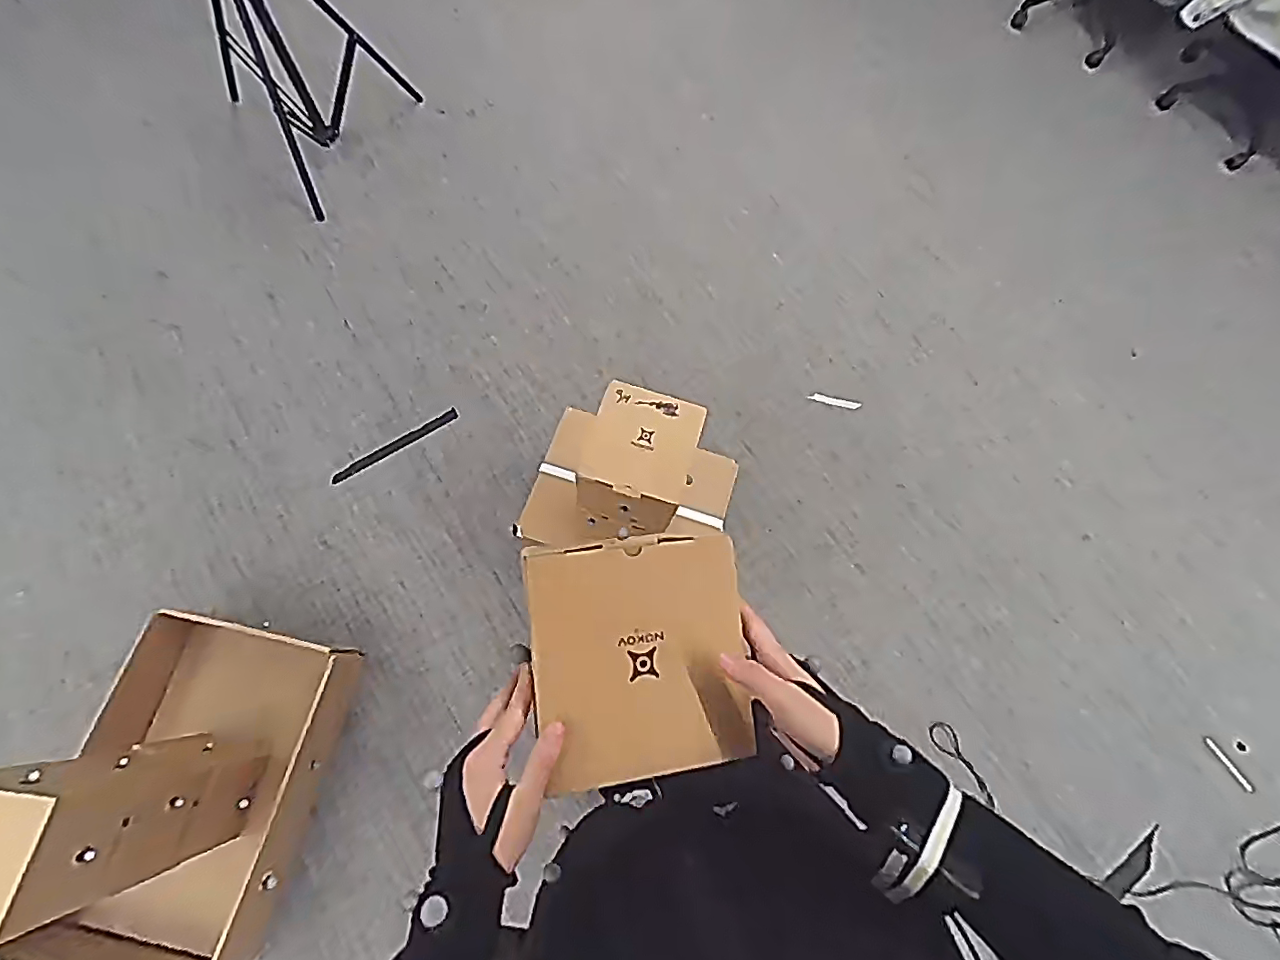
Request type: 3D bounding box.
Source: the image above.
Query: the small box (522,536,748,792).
[{"bbox_3d":[-0.017,0.145,0.493,0.168,0.176,0.179,-4,84,-13],"label":"small box"}]

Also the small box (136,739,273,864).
[{"bbox_3d":[-0.889,0.626,1.076,0.179,0.176,0.168,13,71,0],"label":"small box"}]

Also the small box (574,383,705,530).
[{"bbox_3d":[-0.002,-0.029,0.910,0.168,0.176,0.179,17,71,1],"label":"small box"}]

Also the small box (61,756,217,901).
[{"bbox_3d":[-0.882,0.579,0.921,0.179,0.176,0.168,8,69,0],"label":"small box"}]

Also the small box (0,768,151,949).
[{"bbox_3d":[-0.868,0.519,0.767,0.179,0.176,0.168,9,69,-2],"label":"small box"}]
